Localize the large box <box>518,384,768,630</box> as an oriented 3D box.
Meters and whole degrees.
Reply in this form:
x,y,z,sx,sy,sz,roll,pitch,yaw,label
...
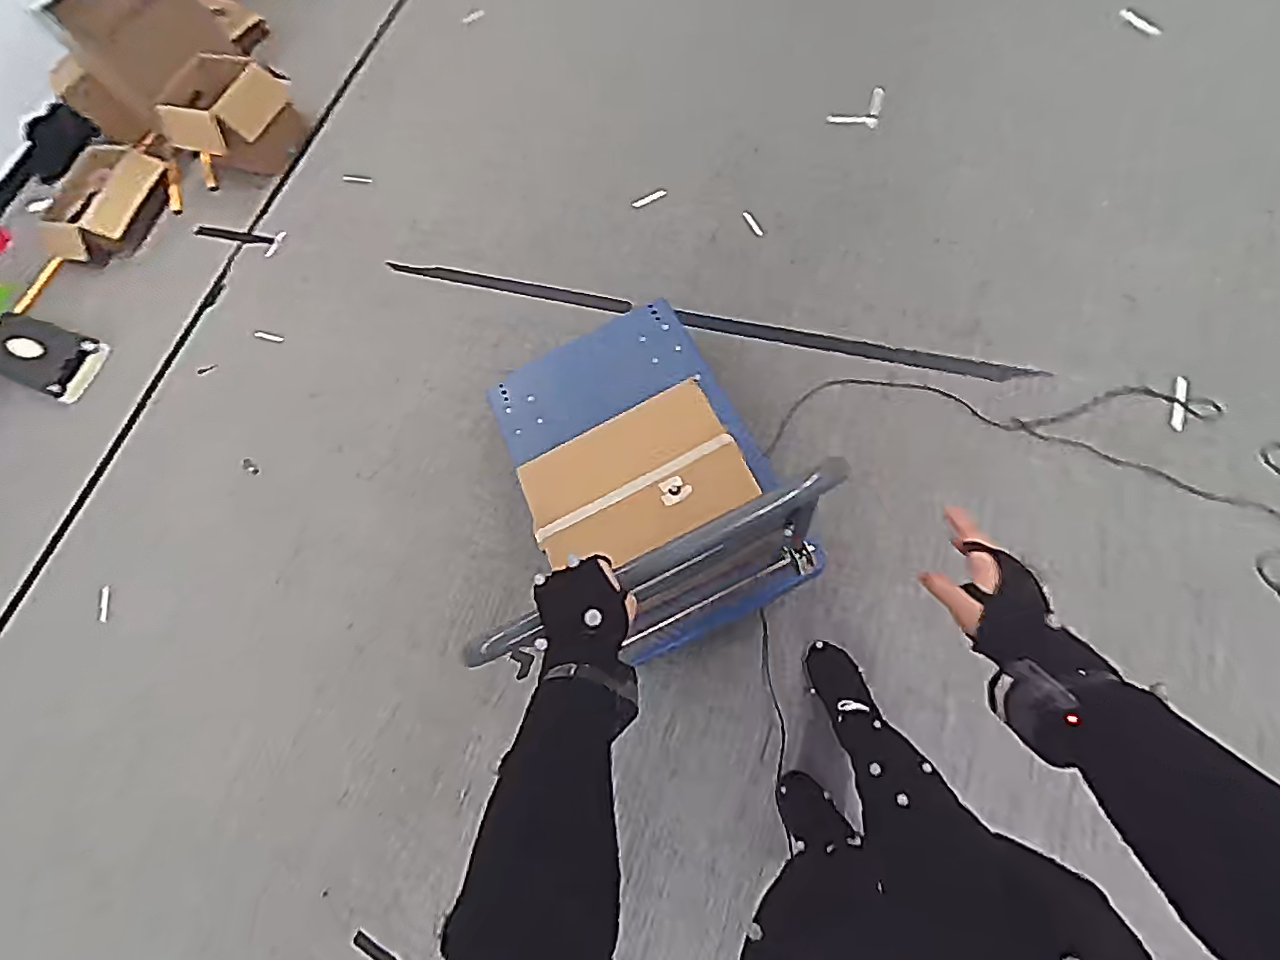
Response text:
x,y,z,sx,sy,sz,roll,pitch,yaw,label
0.021,0.077,1.144,0.408,0.320,0.320,-27,67,2,large box
